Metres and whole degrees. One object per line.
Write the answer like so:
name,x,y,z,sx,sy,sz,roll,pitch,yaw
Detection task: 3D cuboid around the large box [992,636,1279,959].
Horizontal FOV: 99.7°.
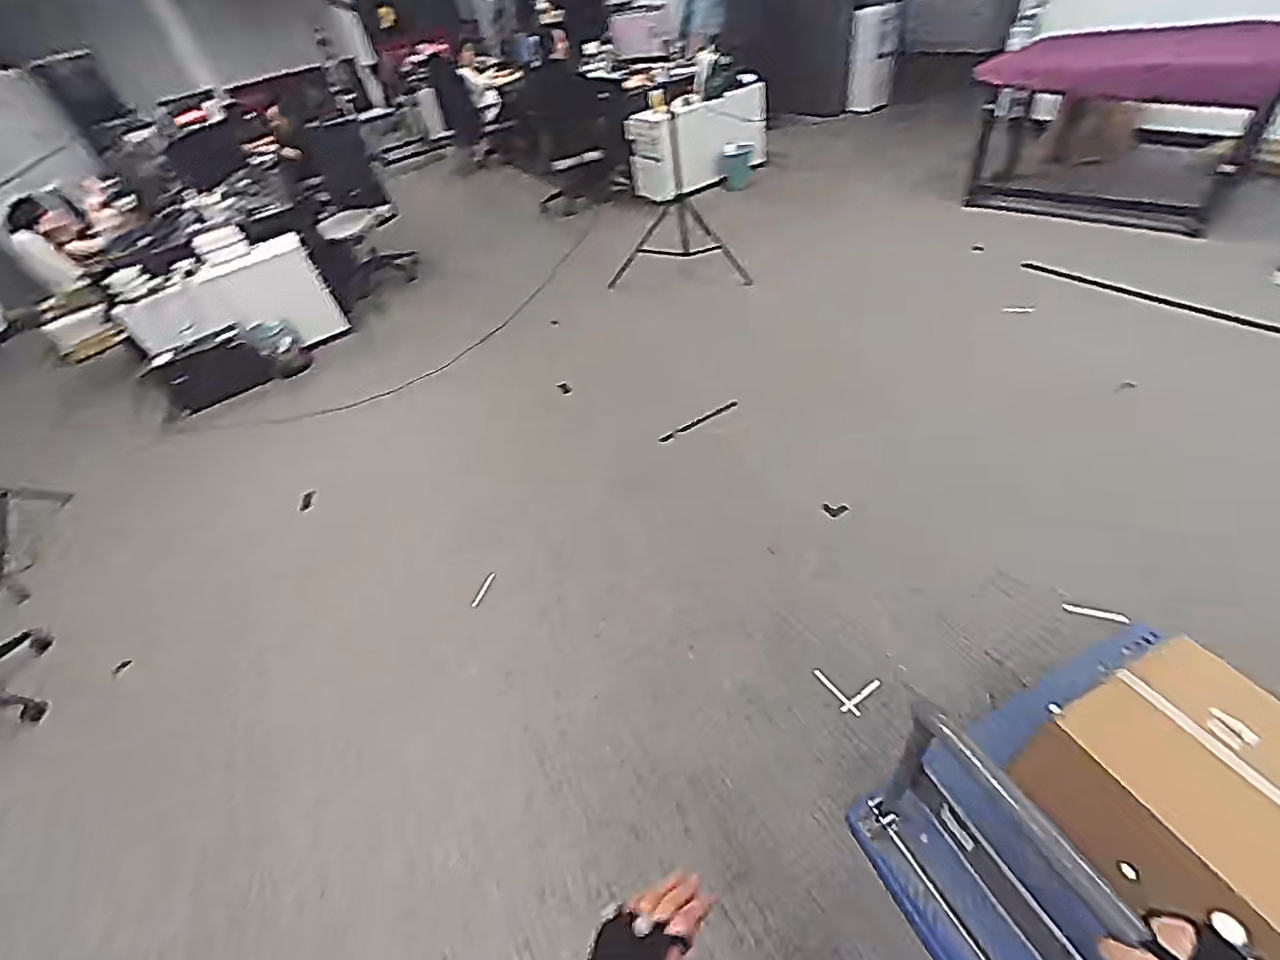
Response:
large box,0.925,0.565,0.929,0.320,0.320,0.408,-24,43,-12
